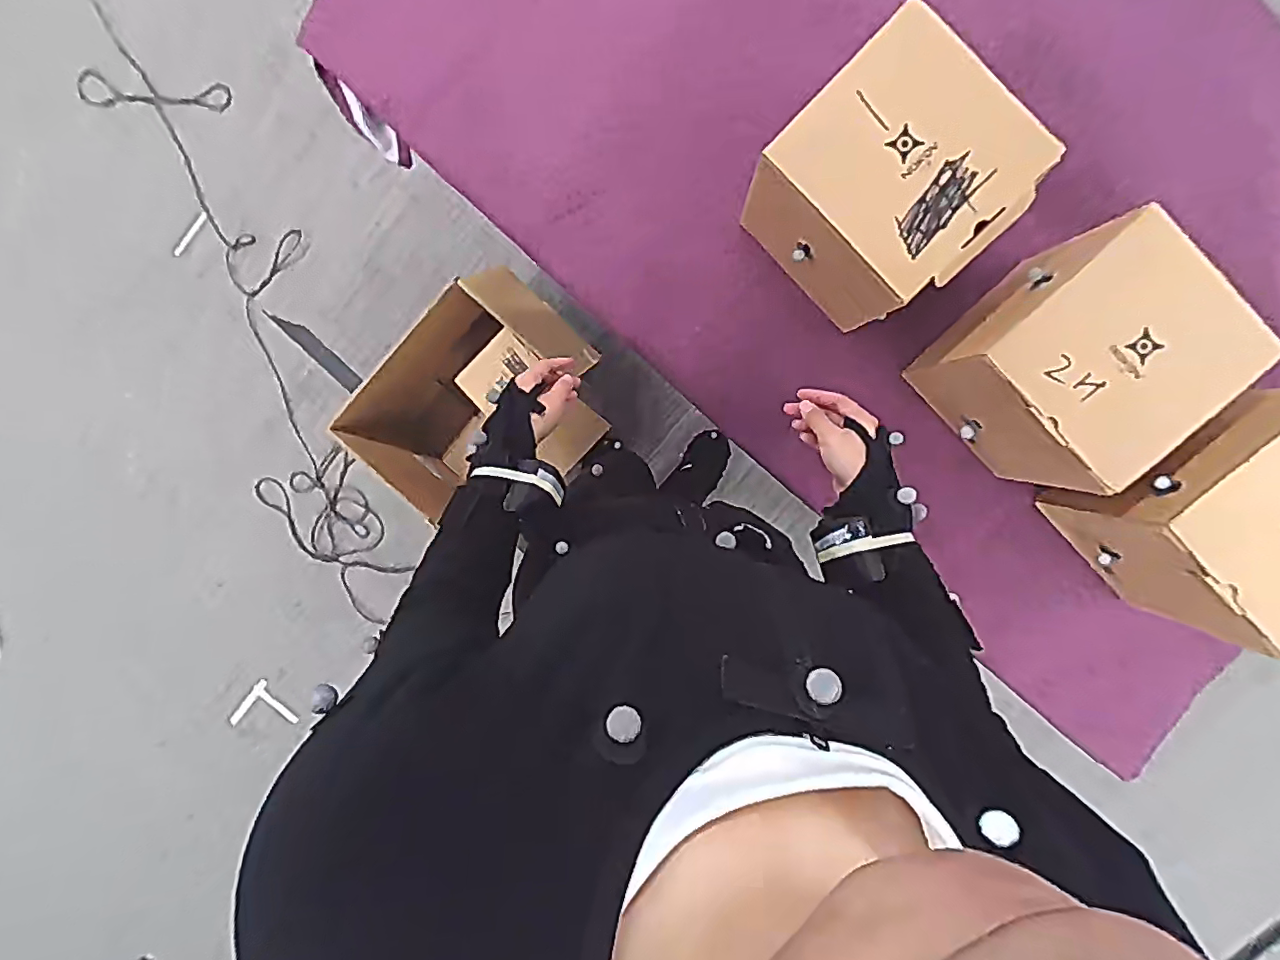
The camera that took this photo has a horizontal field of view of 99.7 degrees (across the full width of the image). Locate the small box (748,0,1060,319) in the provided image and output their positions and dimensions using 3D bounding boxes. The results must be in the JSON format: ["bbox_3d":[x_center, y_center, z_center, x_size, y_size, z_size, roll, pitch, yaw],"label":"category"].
[{"bbox_3d":[0.224,-0.275,0.514,0.168,0.176,0.179,-44,91,8],"label":"small box"}]

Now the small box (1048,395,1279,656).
[{"bbox_3d":[0.562,0.029,0.523,0.179,0.176,0.168,-43,91,7],"label":"small box"}]
